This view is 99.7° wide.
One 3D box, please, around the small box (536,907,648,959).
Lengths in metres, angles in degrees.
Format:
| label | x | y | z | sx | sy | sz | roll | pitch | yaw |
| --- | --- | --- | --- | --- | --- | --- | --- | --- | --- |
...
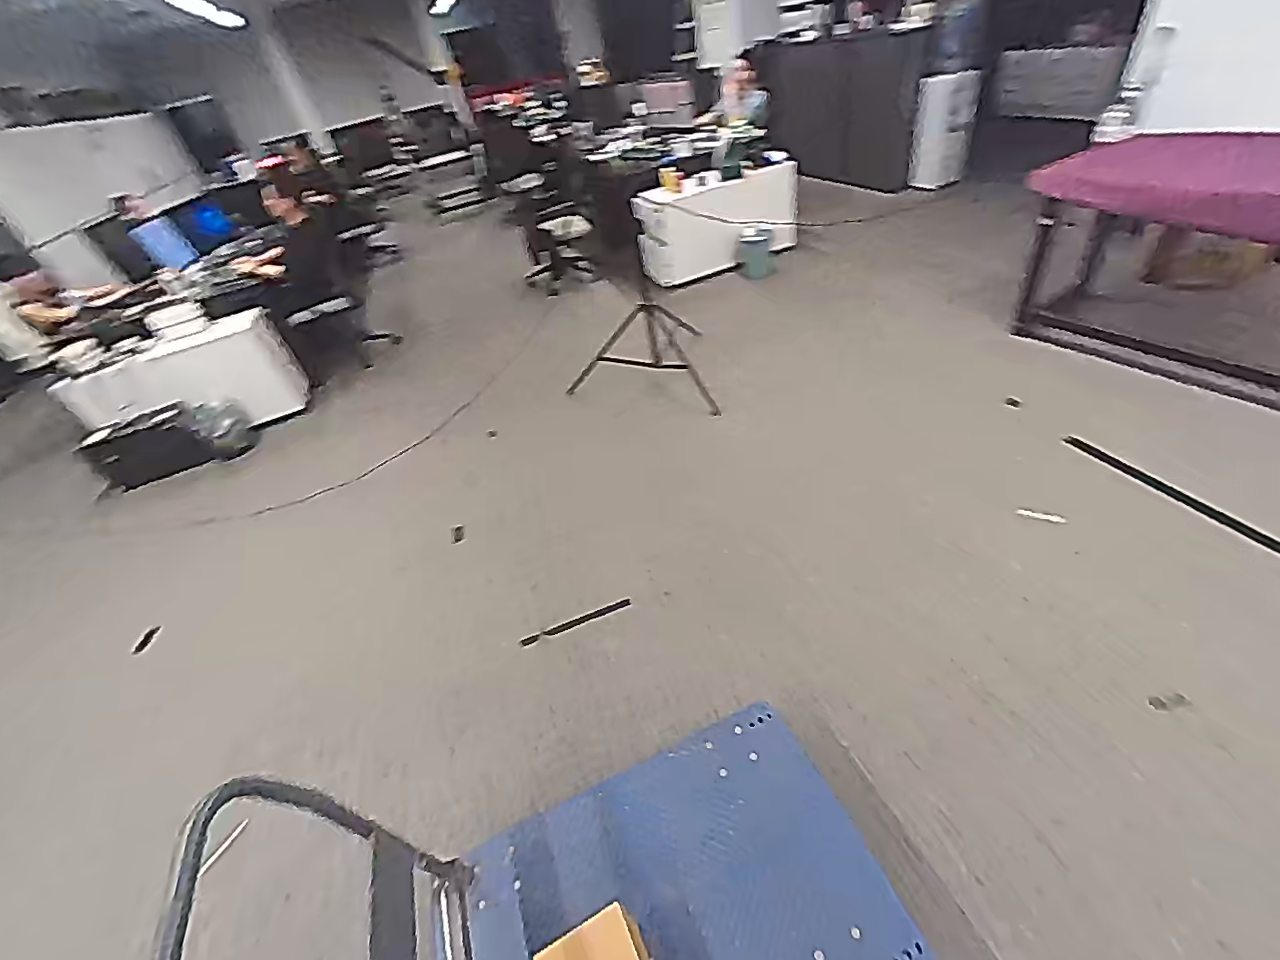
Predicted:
| label | x | y | z | sx | sy | sz | roll | pitch | yaw |
| --- | --- | --- | --- | --- | --- | --- | --- | --- | --- |
| small box | -0.059 | 0.891 | 0.925 | 0.168 | 0.176 | 0.179 | -25 | 41 | -14 |
